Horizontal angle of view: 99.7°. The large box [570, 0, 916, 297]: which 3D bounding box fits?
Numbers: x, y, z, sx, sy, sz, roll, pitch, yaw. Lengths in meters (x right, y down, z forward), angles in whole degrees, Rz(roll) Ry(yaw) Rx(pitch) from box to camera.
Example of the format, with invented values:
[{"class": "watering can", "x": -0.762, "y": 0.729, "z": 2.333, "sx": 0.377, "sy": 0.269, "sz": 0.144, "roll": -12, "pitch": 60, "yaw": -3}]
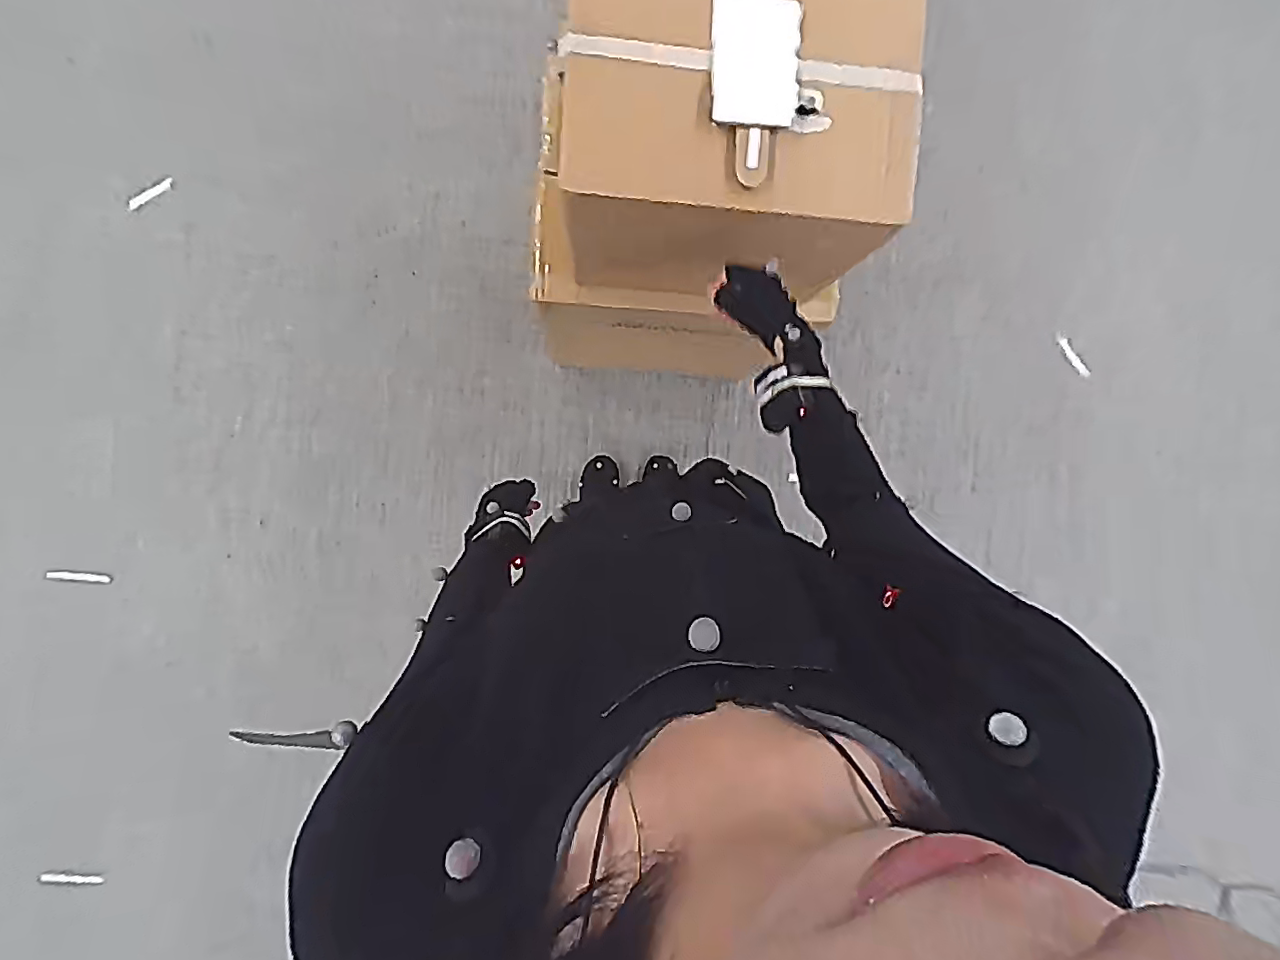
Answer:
[{"class": "large box", "x": 0.109, "y": -0.471, "z": 0.769, "sx": 0.408, "sy": 0.320, "sz": 0.320, "roll": 3, "pitch": 92, "yaw": -5}]
